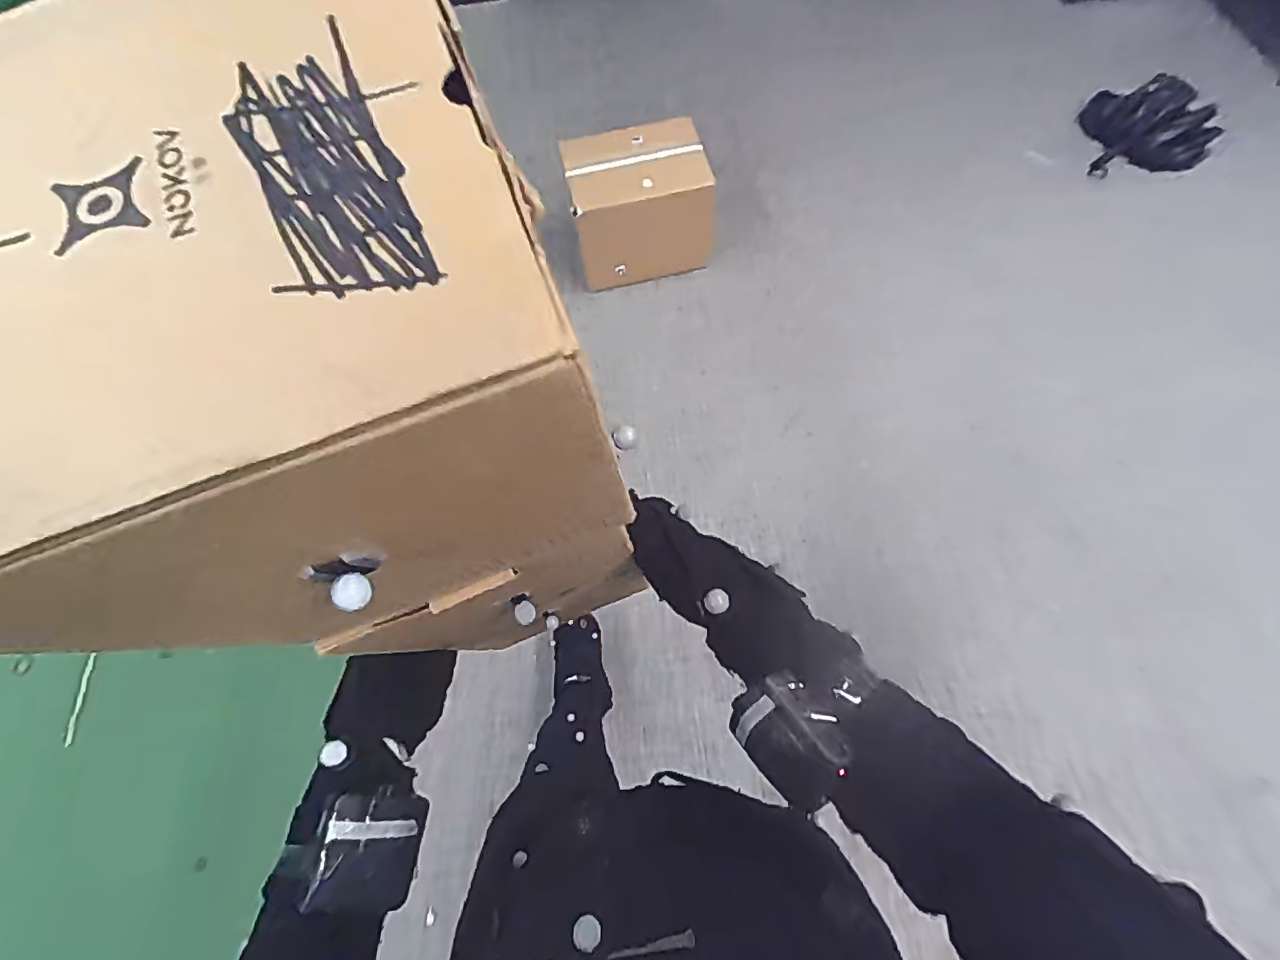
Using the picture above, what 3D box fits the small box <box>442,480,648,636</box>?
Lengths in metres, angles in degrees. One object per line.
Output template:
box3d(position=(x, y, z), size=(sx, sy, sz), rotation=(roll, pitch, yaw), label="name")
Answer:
box3d(position=(-0.100, 0.046, 0.530), size=(0.179, 0.176, 0.168), rotation=(-22, 74, -5), label="small box")

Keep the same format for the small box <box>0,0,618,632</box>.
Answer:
box3d(position=(-0.114, -0.048, 0.215), size=(0.179, 0.176, 0.168), rotation=(-20, 73, -1), label="small box")

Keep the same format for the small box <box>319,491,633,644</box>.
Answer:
box3d(position=(-0.112, -0.004, 0.374), size=(0.168, 0.176, 0.179), rotation=(-23, 74, -3), label="small box")
